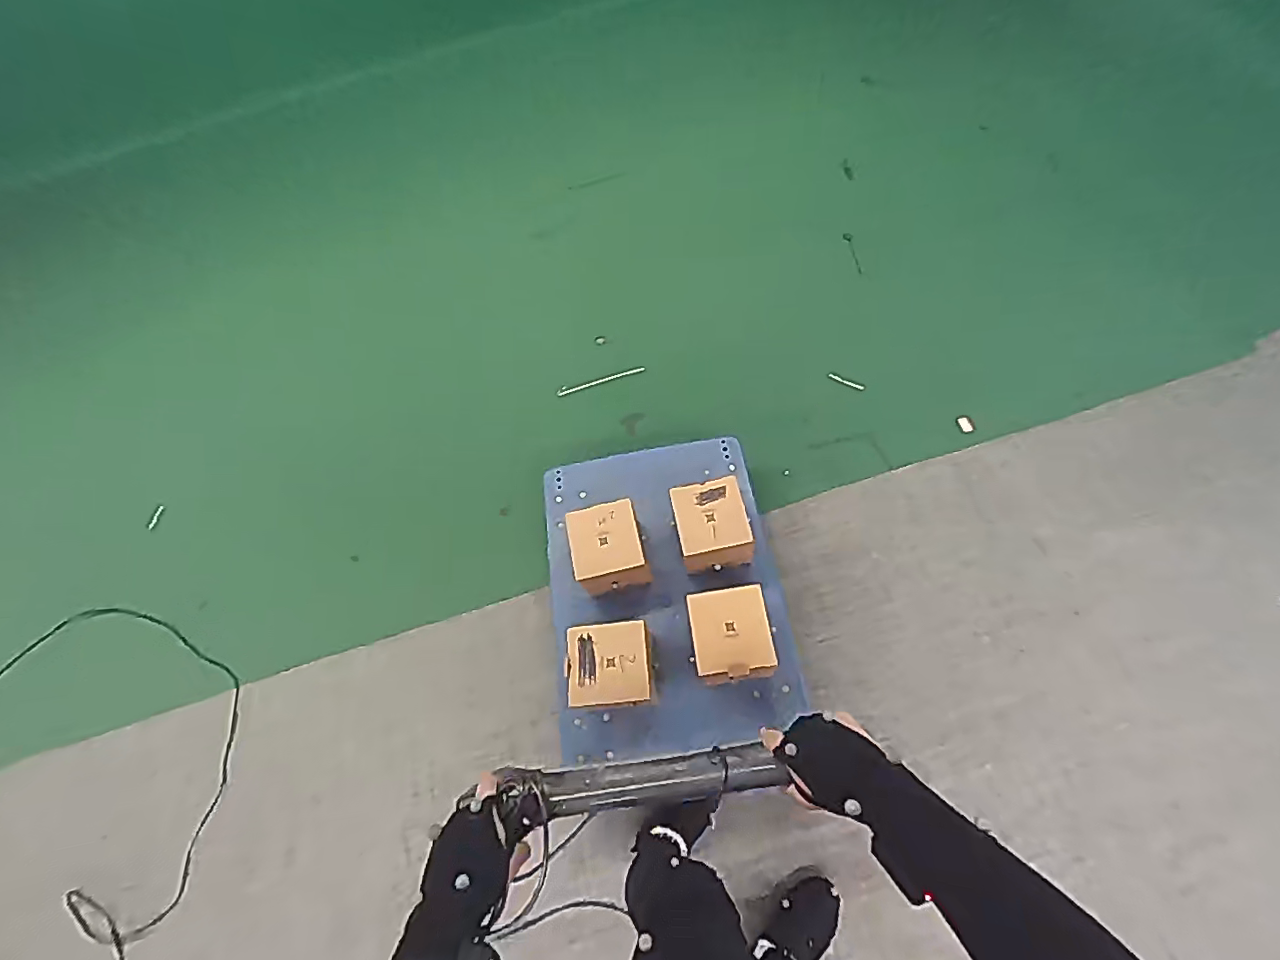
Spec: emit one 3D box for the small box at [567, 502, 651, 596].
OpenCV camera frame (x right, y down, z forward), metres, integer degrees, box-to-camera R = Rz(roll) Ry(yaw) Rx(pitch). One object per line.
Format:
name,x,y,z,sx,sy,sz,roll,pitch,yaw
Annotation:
small box,-0.072,0.180,1.346,0.168,0.176,0.179,-14,64,1

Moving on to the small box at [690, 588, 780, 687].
small box,0.207,0.358,1.219,0.168,0.176,0.179,-10,64,4

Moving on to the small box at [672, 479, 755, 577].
small box,0.178,0.122,1.336,0.168,0.176,0.179,-13,64,3
